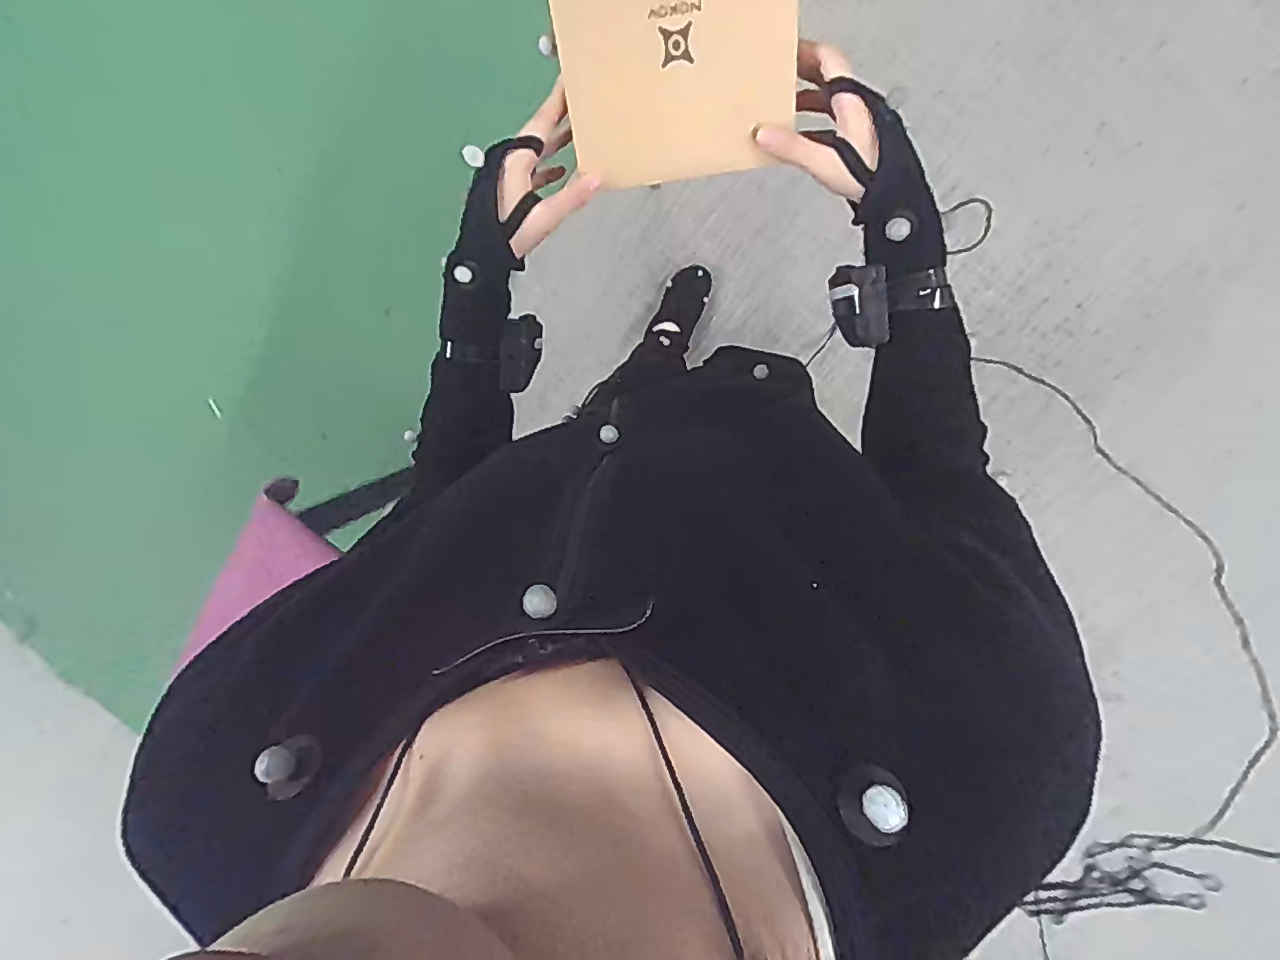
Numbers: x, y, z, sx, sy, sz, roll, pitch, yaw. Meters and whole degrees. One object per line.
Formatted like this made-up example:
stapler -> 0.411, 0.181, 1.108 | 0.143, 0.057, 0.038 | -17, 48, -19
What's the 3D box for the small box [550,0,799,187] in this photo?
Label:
small box -> 0.025, -0.351, 0.426 | 0.168, 0.176, 0.179 | -6, 126, 4
